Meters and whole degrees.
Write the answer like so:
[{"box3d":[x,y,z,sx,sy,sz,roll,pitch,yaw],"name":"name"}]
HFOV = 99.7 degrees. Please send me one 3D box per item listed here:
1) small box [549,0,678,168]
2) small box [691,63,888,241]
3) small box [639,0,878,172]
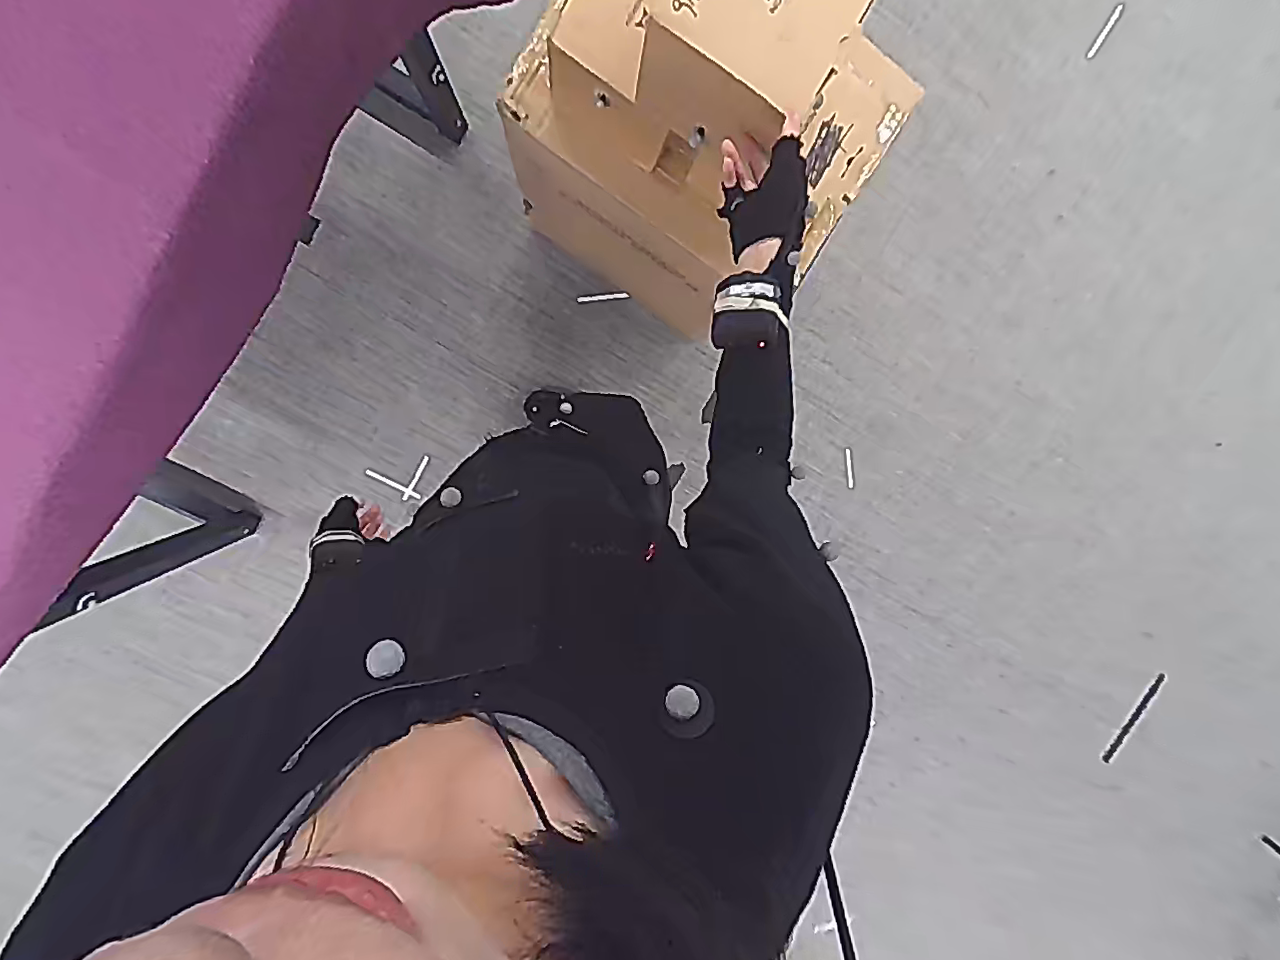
[{"box3d":[-0.004,-0.557,0.718,0.179,0.176,0.168,30,96,-12],"name":"small box"},{"box3d":[0.194,-0.463,0.755,0.179,0.176,0.168,34,95,-8],"name":"small box"},{"box3d":[0.116,-0.468,0.580,0.179,0.176,0.168,30,96,-10],"name":"small box"}]
